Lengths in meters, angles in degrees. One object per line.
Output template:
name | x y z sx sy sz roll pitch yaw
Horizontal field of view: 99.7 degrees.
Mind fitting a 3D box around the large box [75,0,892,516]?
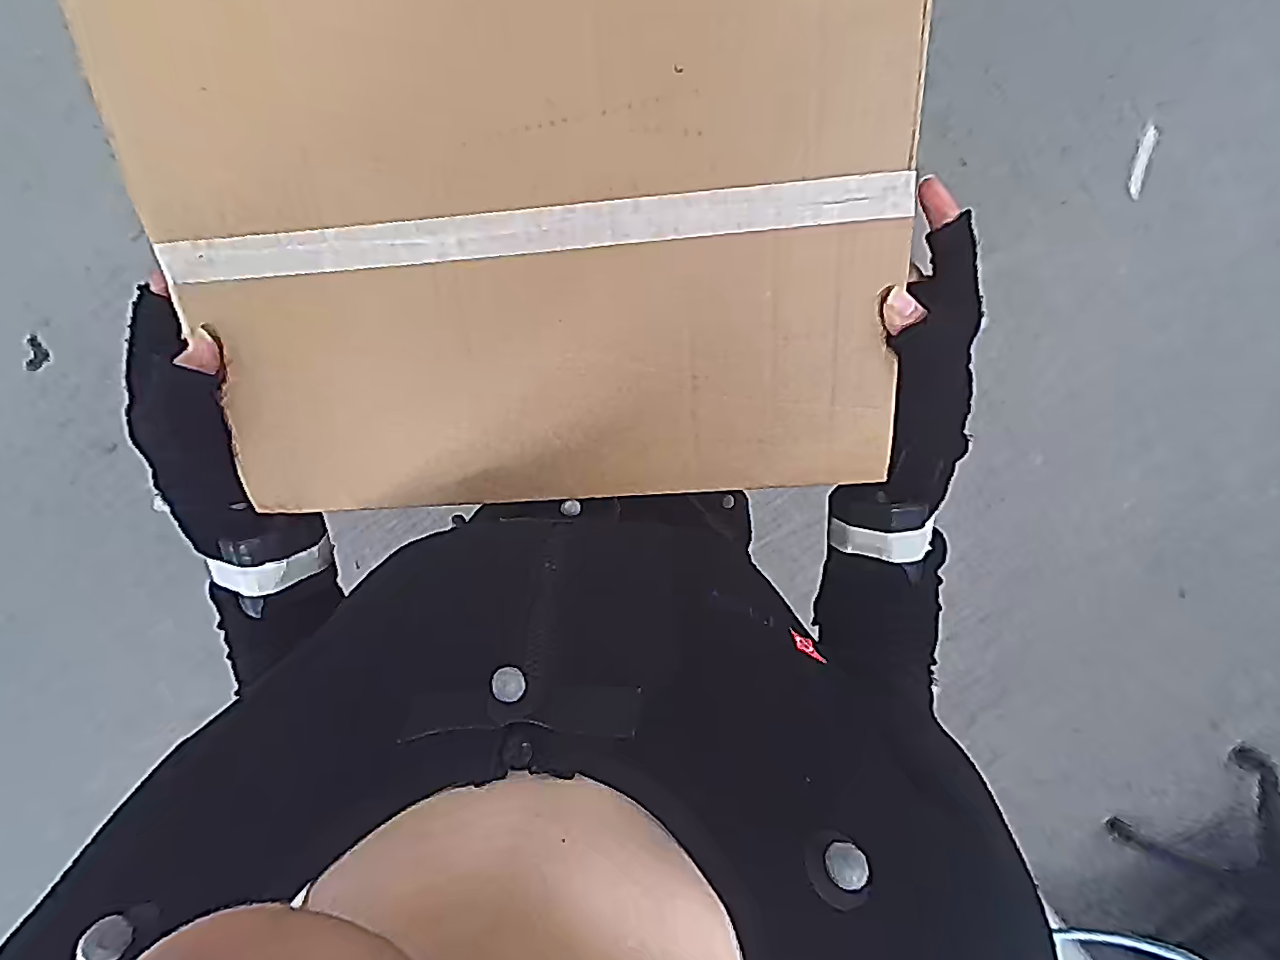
large box | -0.061 -0.189 0.438 0.408 0.320 0.320 -4 111 4
